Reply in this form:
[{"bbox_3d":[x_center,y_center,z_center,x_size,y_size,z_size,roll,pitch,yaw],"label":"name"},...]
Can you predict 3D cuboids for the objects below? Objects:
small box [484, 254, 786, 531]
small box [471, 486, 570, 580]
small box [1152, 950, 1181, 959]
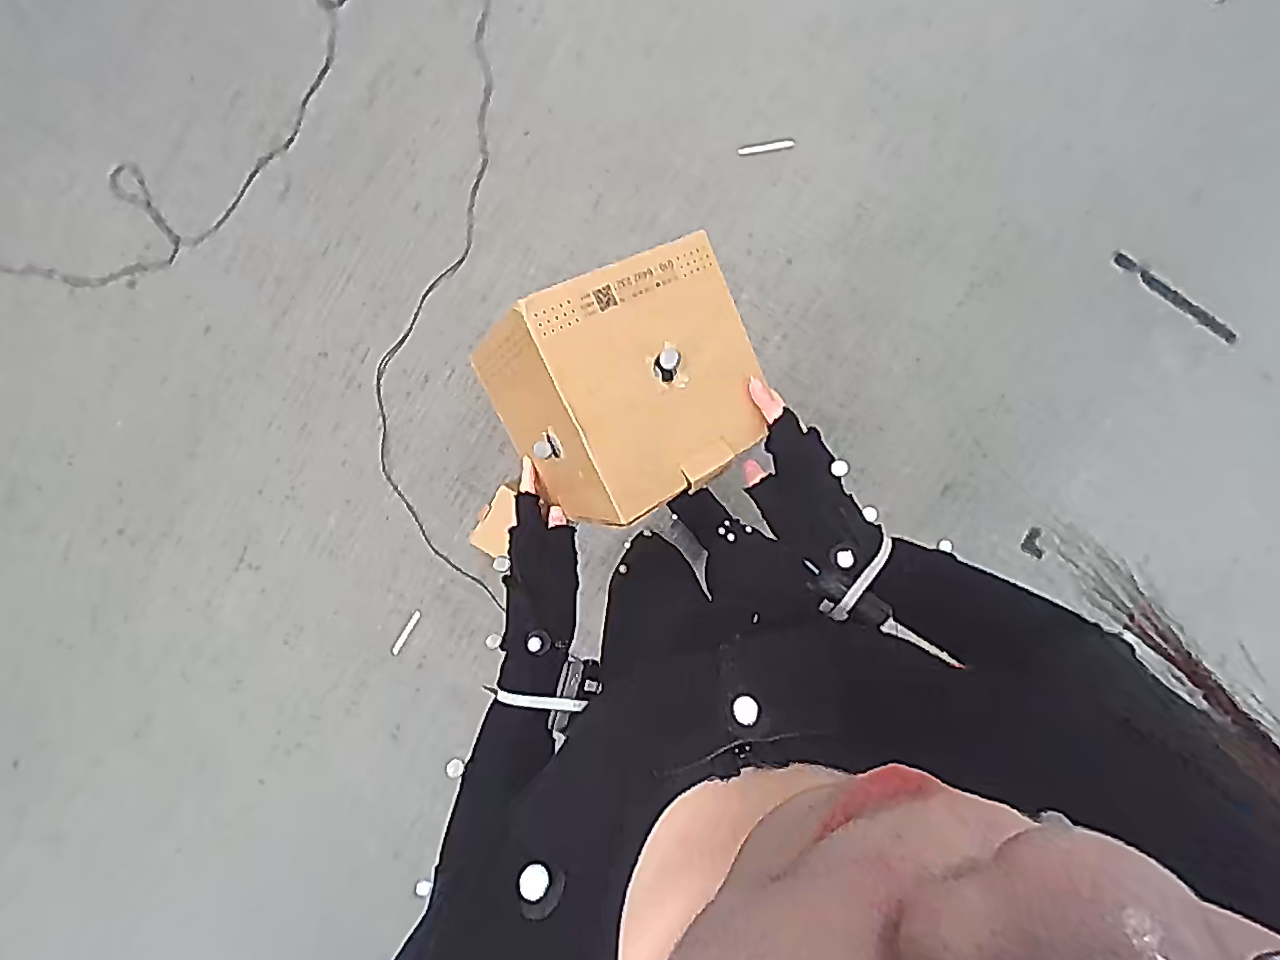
[{"bbox_3d":[-0.015,-0.074,0.467,0.168,0.179,0.176,-30,103,-24],"label":"small box"},{"bbox_3d":[-0.298,0.128,1.395,0.179,0.176,0.168,33,95,-3],"label":"small box"},{"bbox_3d":[1.331,1.301,1.292,0.168,0.176,0.179,35,94,-3],"label":"small box"}]
